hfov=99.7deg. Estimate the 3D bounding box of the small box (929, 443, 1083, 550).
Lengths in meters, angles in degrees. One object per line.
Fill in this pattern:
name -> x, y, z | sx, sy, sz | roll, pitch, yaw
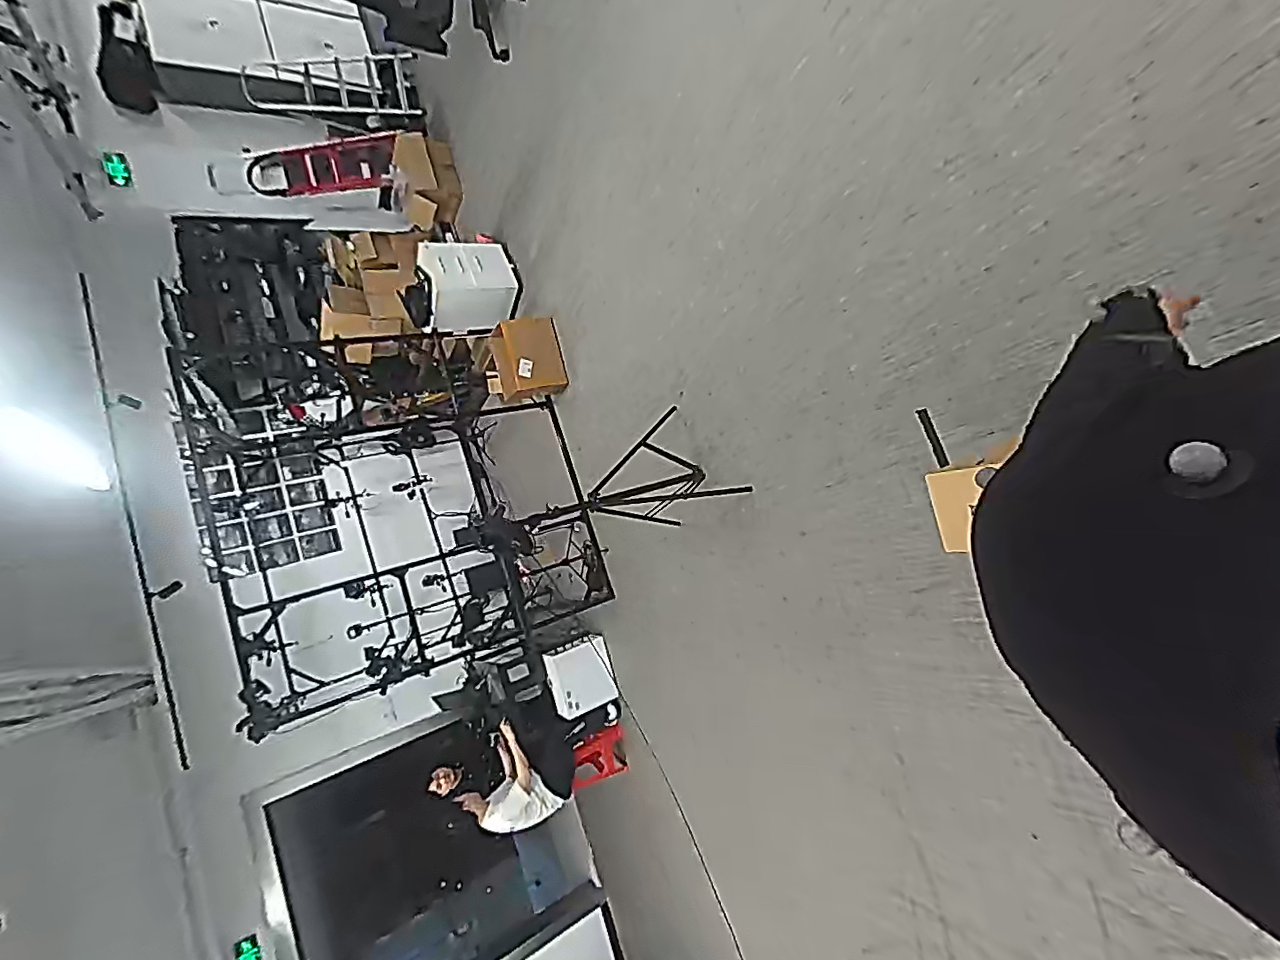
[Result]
small box -> 0.711, 0.034, 1.055 | 0.179, 0.176, 0.168 | -16, 89, 60
